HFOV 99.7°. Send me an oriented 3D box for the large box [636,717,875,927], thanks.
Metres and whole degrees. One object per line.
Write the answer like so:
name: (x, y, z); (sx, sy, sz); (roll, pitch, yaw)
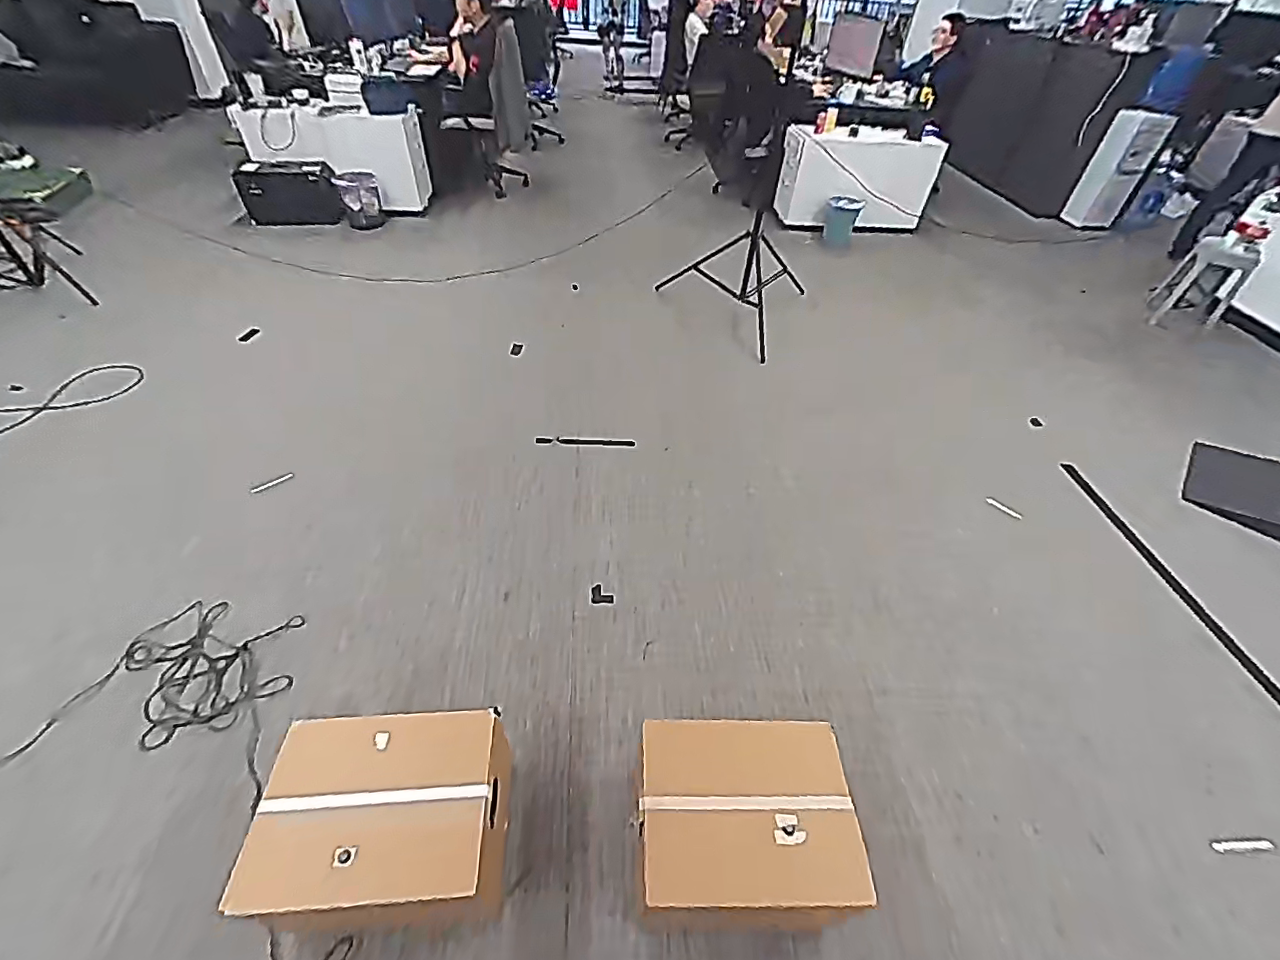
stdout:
large box: (0.202, 0.720, 1.142); (0.408, 0.320, 0.320); (2, 45, -3)
